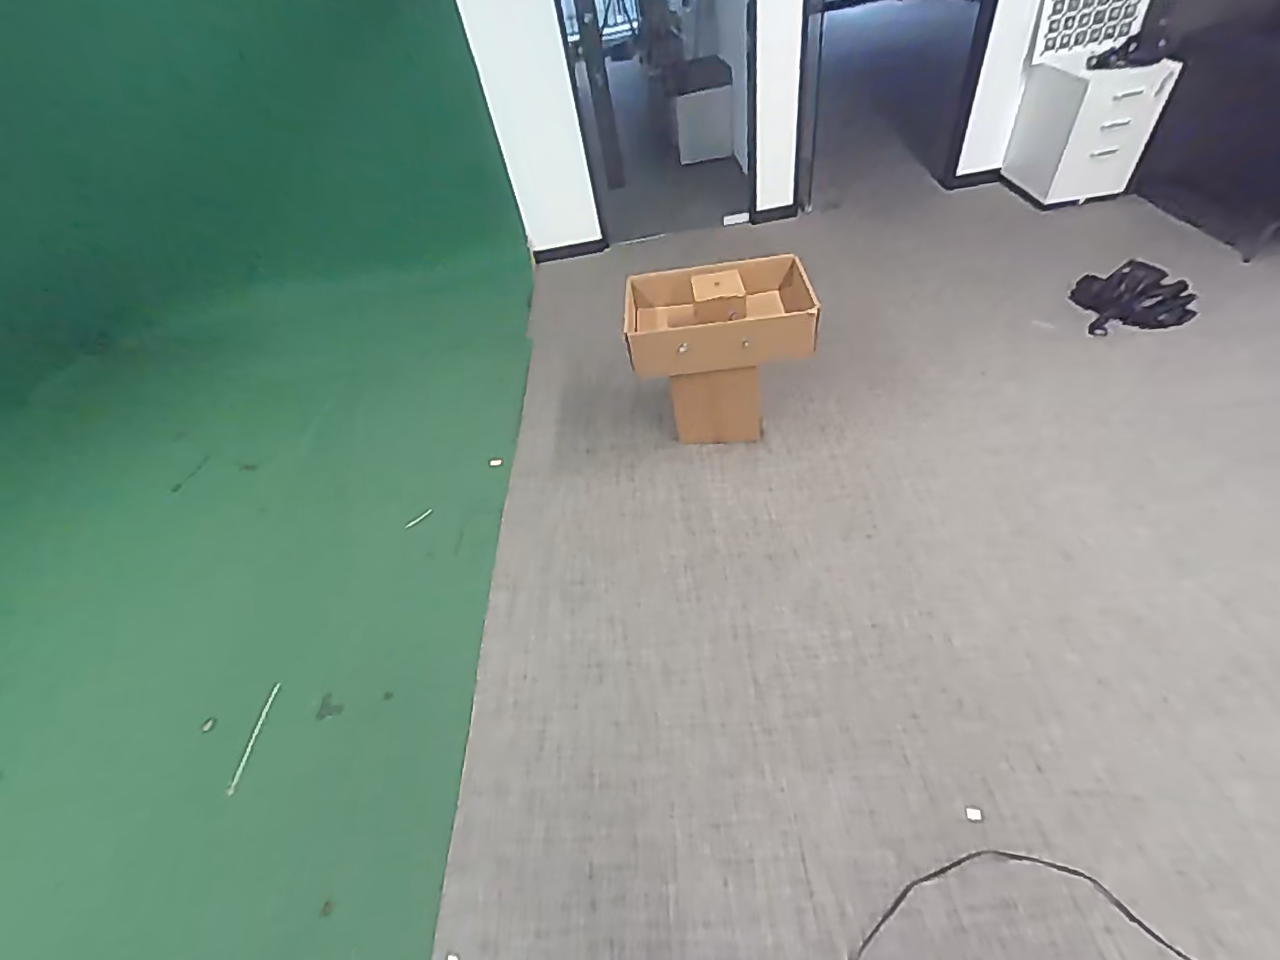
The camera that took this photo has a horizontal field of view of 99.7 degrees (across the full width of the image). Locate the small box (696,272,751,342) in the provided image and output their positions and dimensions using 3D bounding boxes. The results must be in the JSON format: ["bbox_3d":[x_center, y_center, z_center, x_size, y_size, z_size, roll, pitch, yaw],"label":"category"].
[{"bbox_3d":[0.288,-0.590,1.863,0.168,0.176,0.179,-7,44,4],"label":"small box"}]
